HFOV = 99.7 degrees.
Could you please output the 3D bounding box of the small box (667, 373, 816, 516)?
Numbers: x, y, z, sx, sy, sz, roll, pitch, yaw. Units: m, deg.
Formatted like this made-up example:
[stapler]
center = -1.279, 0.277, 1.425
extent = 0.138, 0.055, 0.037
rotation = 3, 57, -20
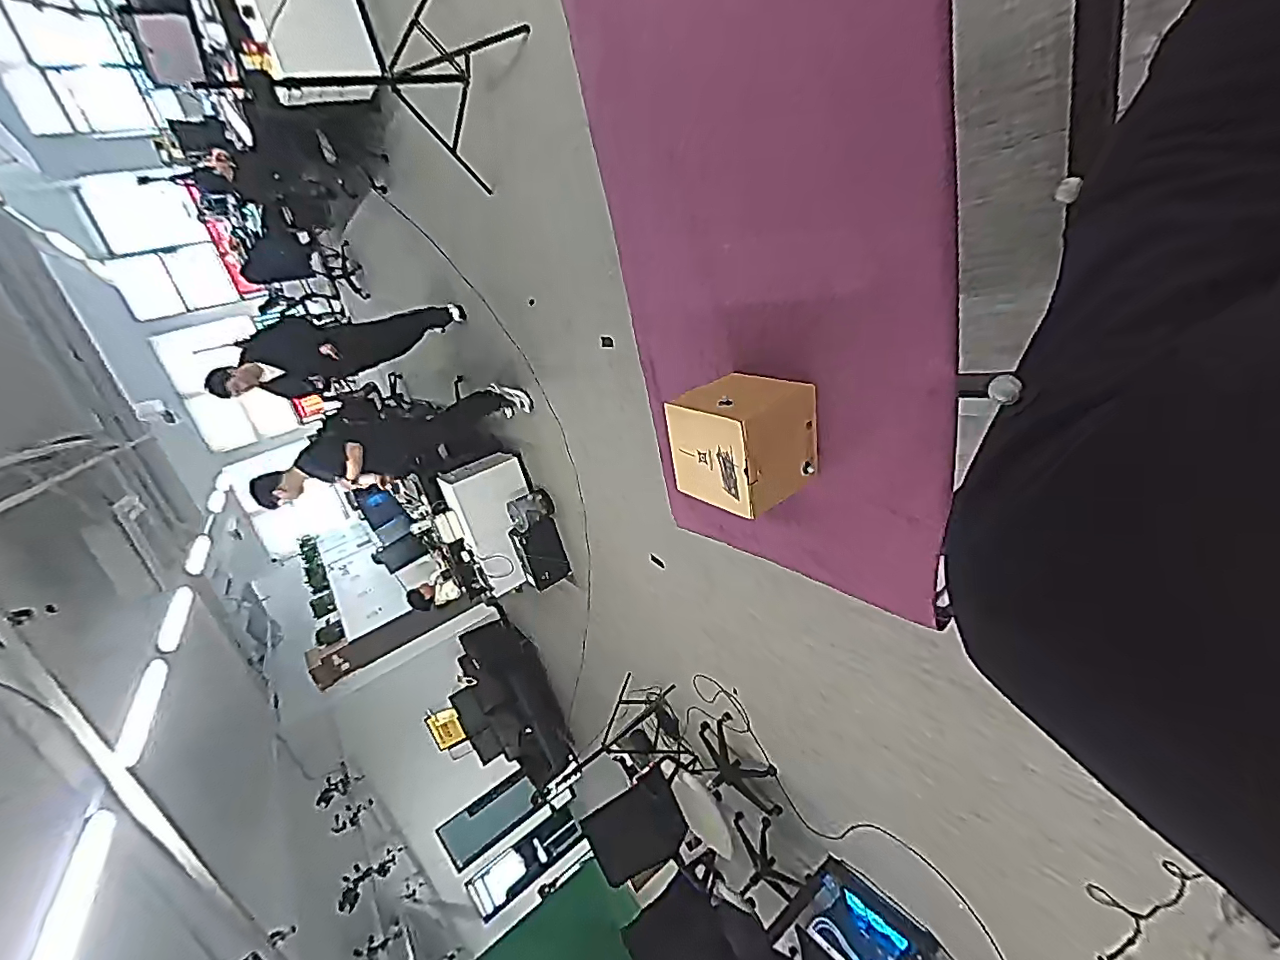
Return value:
[small box]
center = 0.173, -0.068, 0.890
extent = 0.179, 0.176, 0.168
rotation = 24, 132, 50
